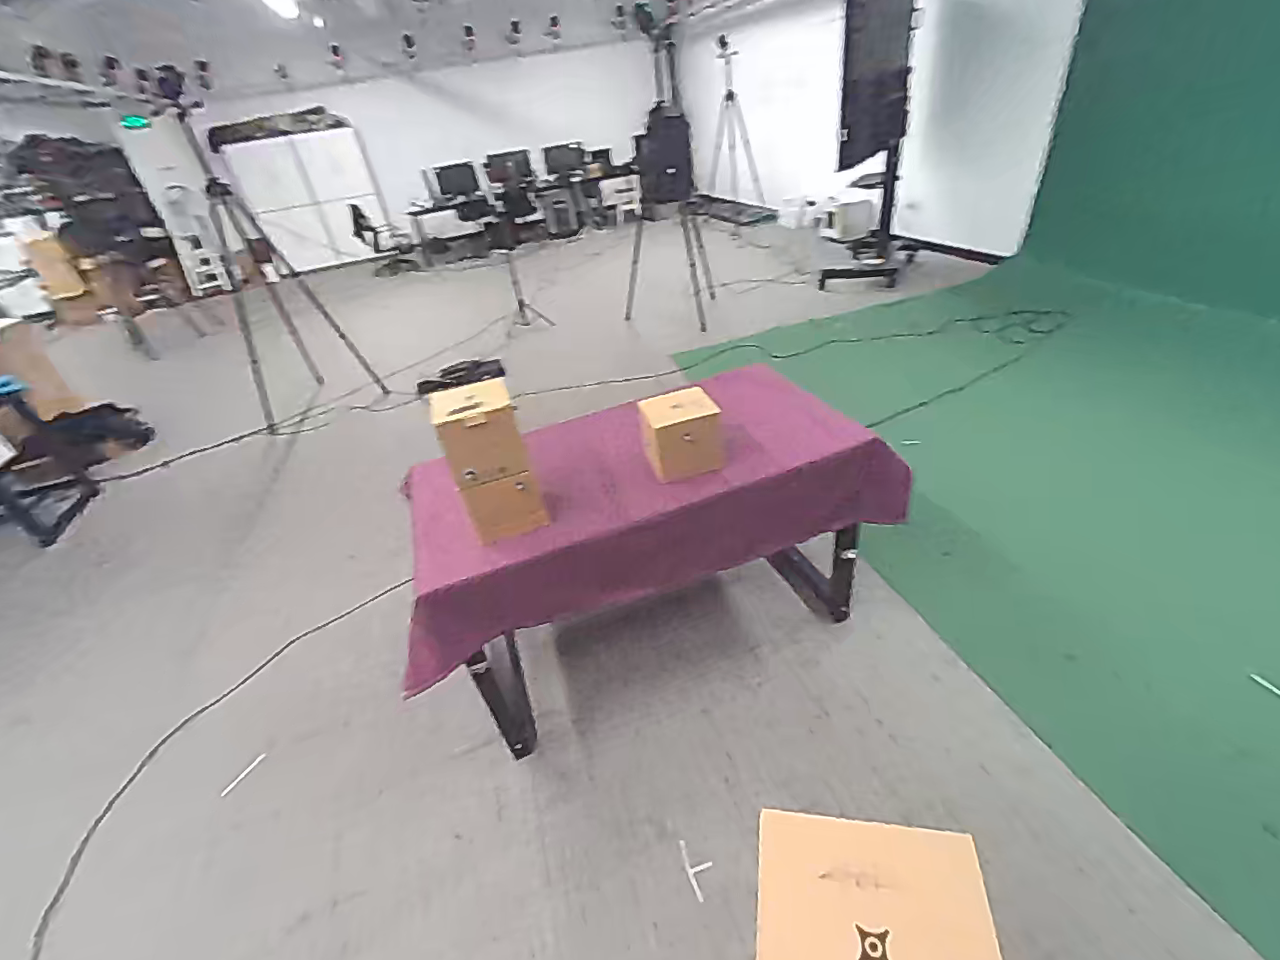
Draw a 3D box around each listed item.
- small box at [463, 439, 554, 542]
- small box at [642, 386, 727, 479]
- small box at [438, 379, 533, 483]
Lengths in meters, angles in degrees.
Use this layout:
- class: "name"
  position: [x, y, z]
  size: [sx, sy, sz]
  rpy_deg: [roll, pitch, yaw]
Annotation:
- class: "small box"
  position: [-0.325, 0.028, 1.332]
  size: [0.179, 0.176, 0.168]
  rpy_deg: [-17, 35, -10]
- class: "small box"
  position: [0.119, -0.123, 1.423]
  size: [0.179, 0.176, 0.168]
  rpy_deg: [-15, 35, -7]
- class: "small box"
  position: [-0.353, -0.108, 1.243]
  size: [0.168, 0.176, 0.179]
  rpy_deg: [-18, 34, -11]
